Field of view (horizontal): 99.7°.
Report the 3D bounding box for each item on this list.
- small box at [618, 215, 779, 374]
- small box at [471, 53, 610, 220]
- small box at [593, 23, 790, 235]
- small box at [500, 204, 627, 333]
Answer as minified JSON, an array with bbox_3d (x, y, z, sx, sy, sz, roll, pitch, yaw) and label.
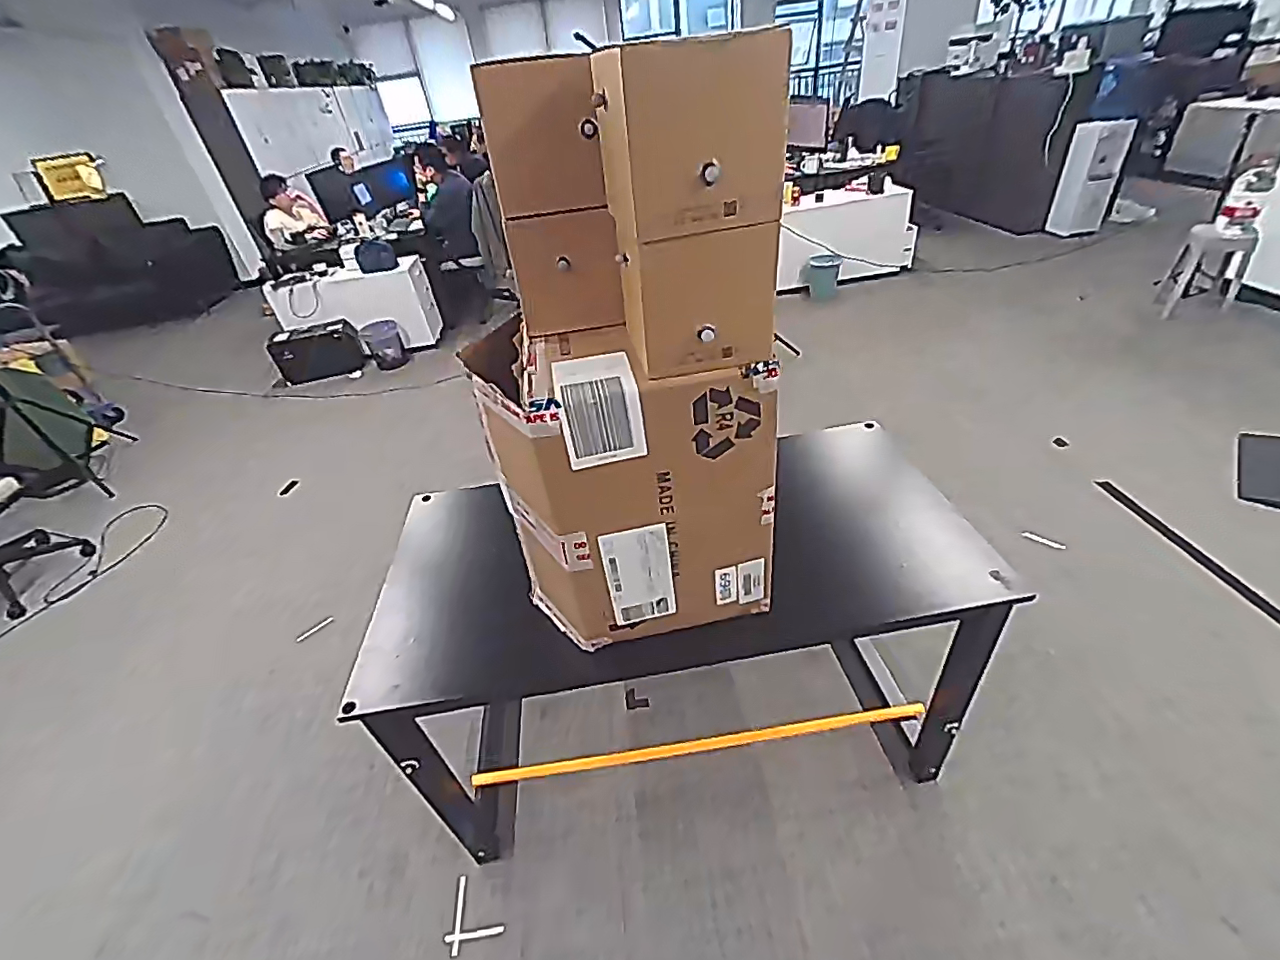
[{"bbox_3d":[0.067,-0.256,0.703,0.168,0.176,0.179,-10,38,-5],"label":"small box"},{"bbox_3d":[-0.122,-0.472,0.749,0.179,0.176,0.168,-13,35,-7],"label":"small box"},{"bbox_3d":[0.049,-0.385,0.601,0.168,0.176,0.179,-12,38,-7],"label":"small box"},{"bbox_3d":[-0.108,-0.341,0.846,0.179,0.176,0.168,-11,35,-5],"label":"small box"}]
